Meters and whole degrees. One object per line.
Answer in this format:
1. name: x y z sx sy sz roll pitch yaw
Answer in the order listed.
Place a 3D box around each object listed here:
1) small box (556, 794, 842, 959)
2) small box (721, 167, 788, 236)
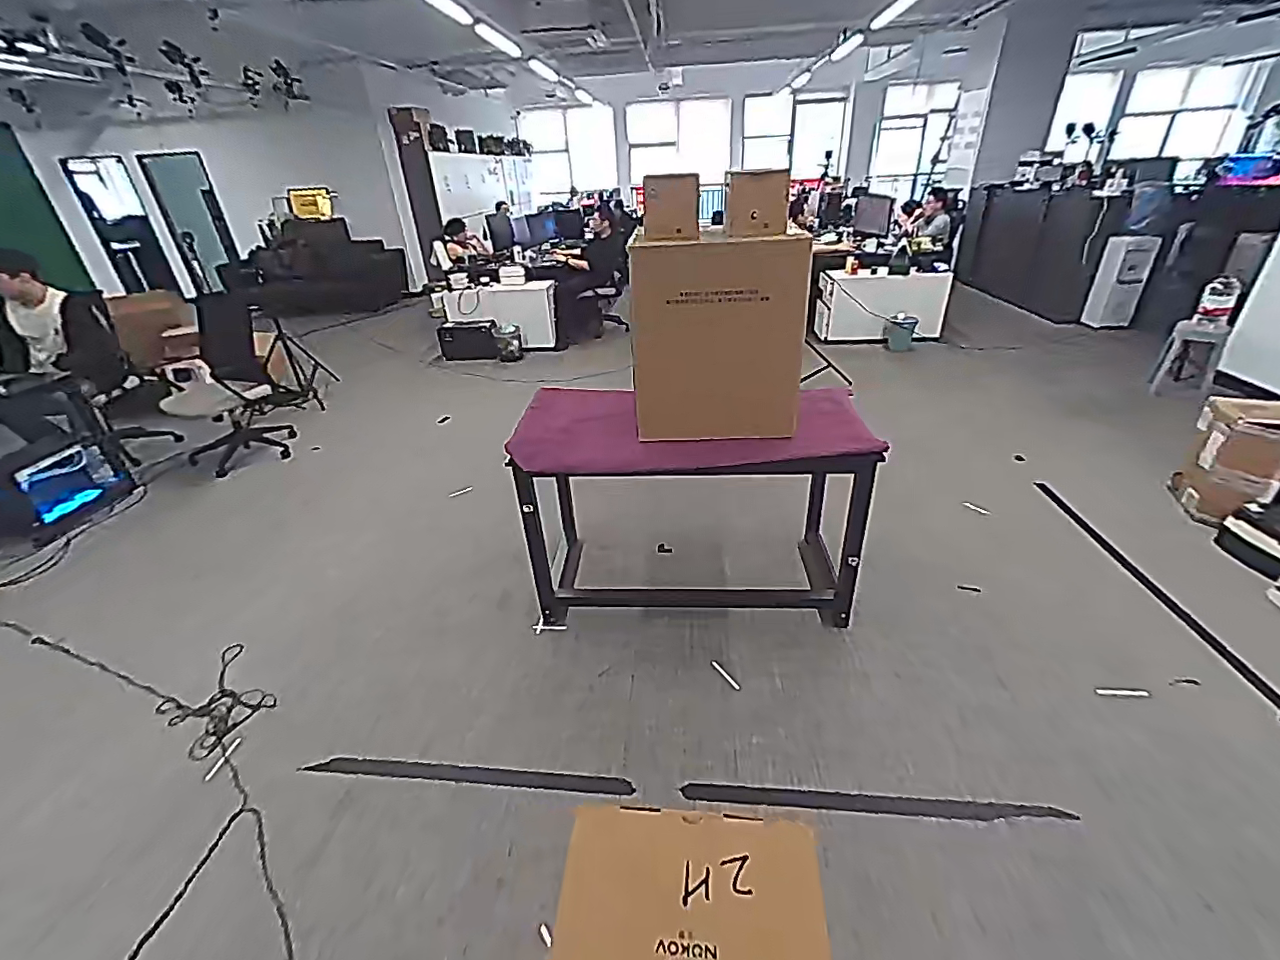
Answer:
1. small box: 0.037 0.340 0.351 0.168 0.176 0.179 1 34 7
2. small box: 0.334 -0.830 1.612 0.168 0.176 0.179 -3 31 2
